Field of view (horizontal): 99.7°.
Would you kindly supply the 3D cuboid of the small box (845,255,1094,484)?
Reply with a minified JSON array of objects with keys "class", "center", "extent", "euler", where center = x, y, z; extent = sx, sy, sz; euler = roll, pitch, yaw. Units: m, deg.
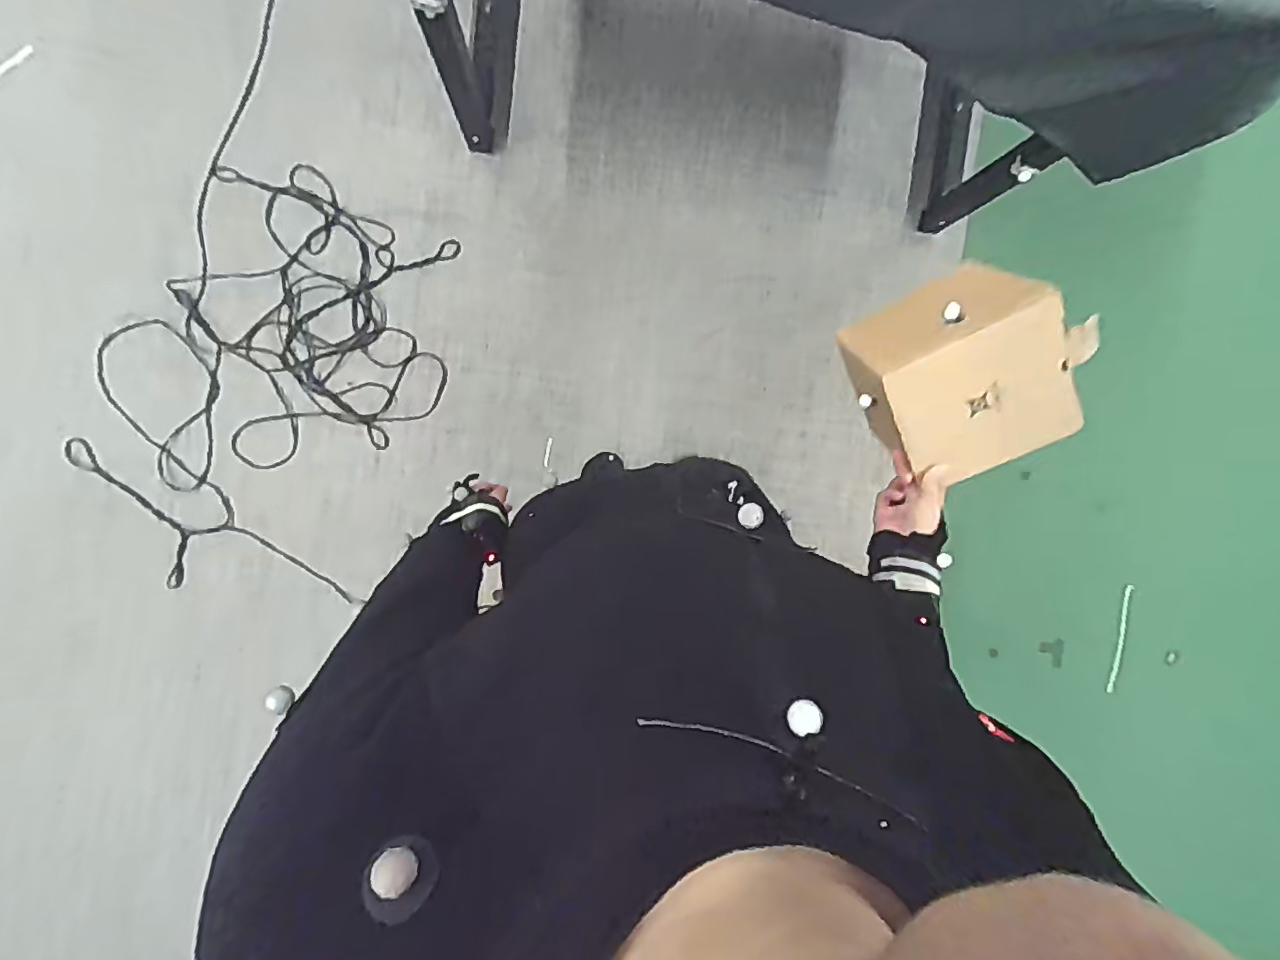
[{"class":"small box","center":[0.354,-0.131,0.615],"extent":[0.179,0.176,0.168],"euler":[-28,116,15]}]
